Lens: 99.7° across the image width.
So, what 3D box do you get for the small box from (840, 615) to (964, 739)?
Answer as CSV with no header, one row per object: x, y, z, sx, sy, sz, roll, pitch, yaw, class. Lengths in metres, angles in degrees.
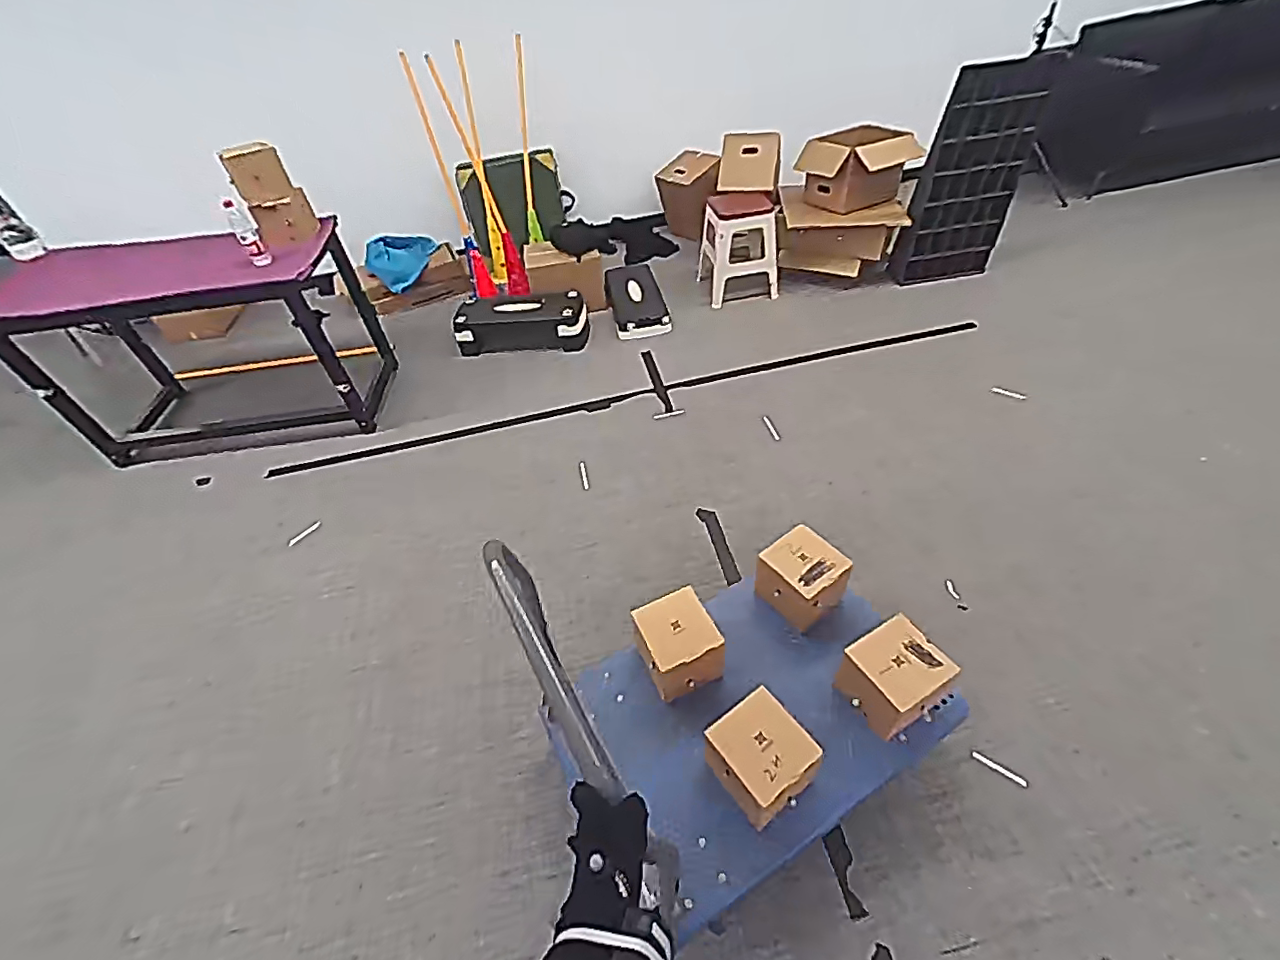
0.578,0.446,1.220,0.179,0.176,0.168,-25,48,-15,small box

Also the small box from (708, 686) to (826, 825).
0.257,0.578,1.132,0.168,0.176,0.179,-29,49,-20,small box

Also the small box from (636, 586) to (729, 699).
0.100,0.400,1.329,0.168,0.176,0.179,-21,49,-14,small box
